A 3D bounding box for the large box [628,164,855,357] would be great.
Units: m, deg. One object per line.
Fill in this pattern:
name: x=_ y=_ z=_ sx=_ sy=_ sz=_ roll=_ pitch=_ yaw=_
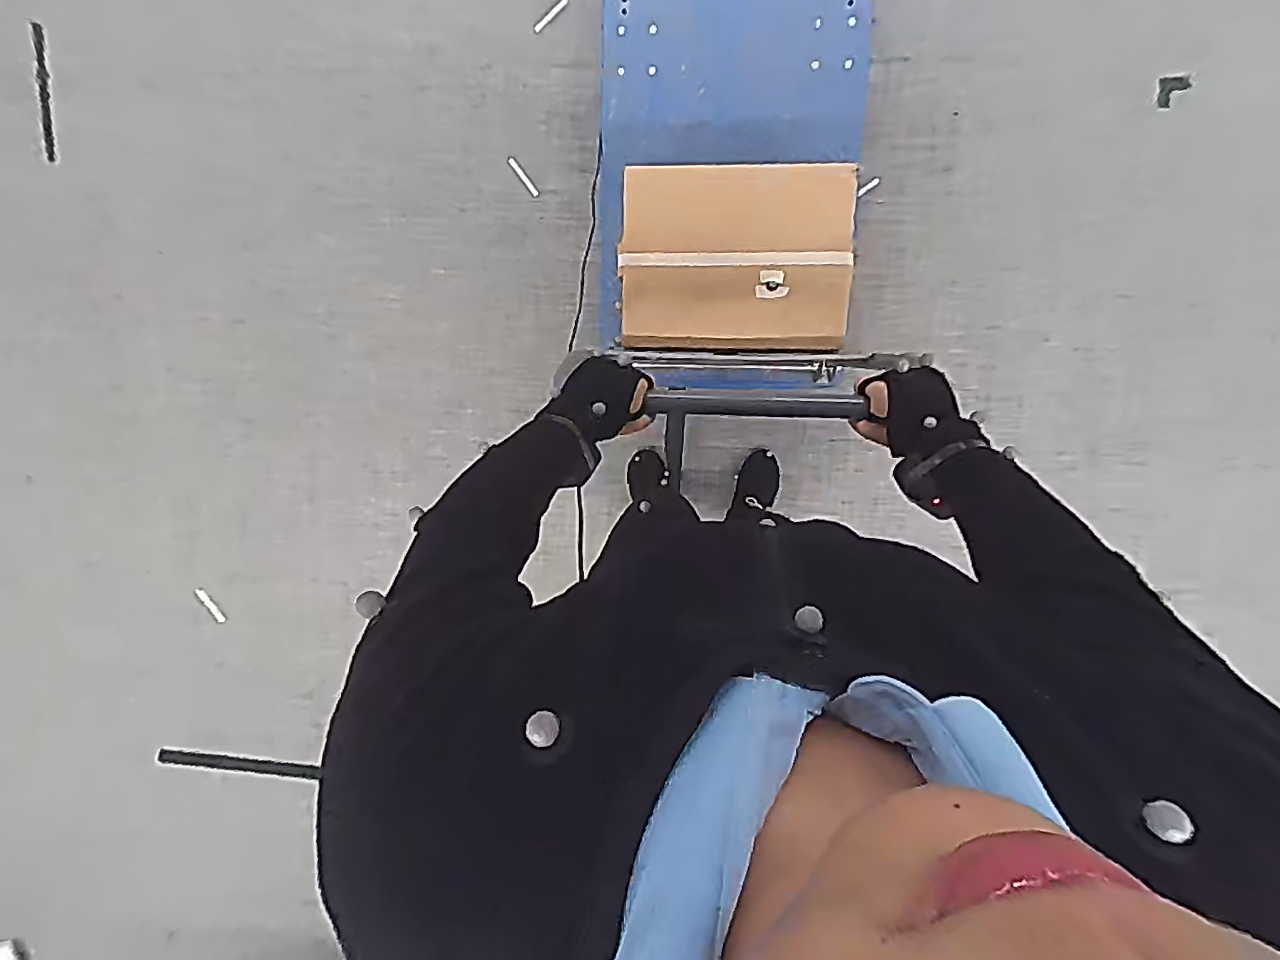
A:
large box: x=0.187 y=-0.425 z=1.125 sx=0.408 sy=0.320 sz=0.320 roll=1 pitch=100 yaw=4
